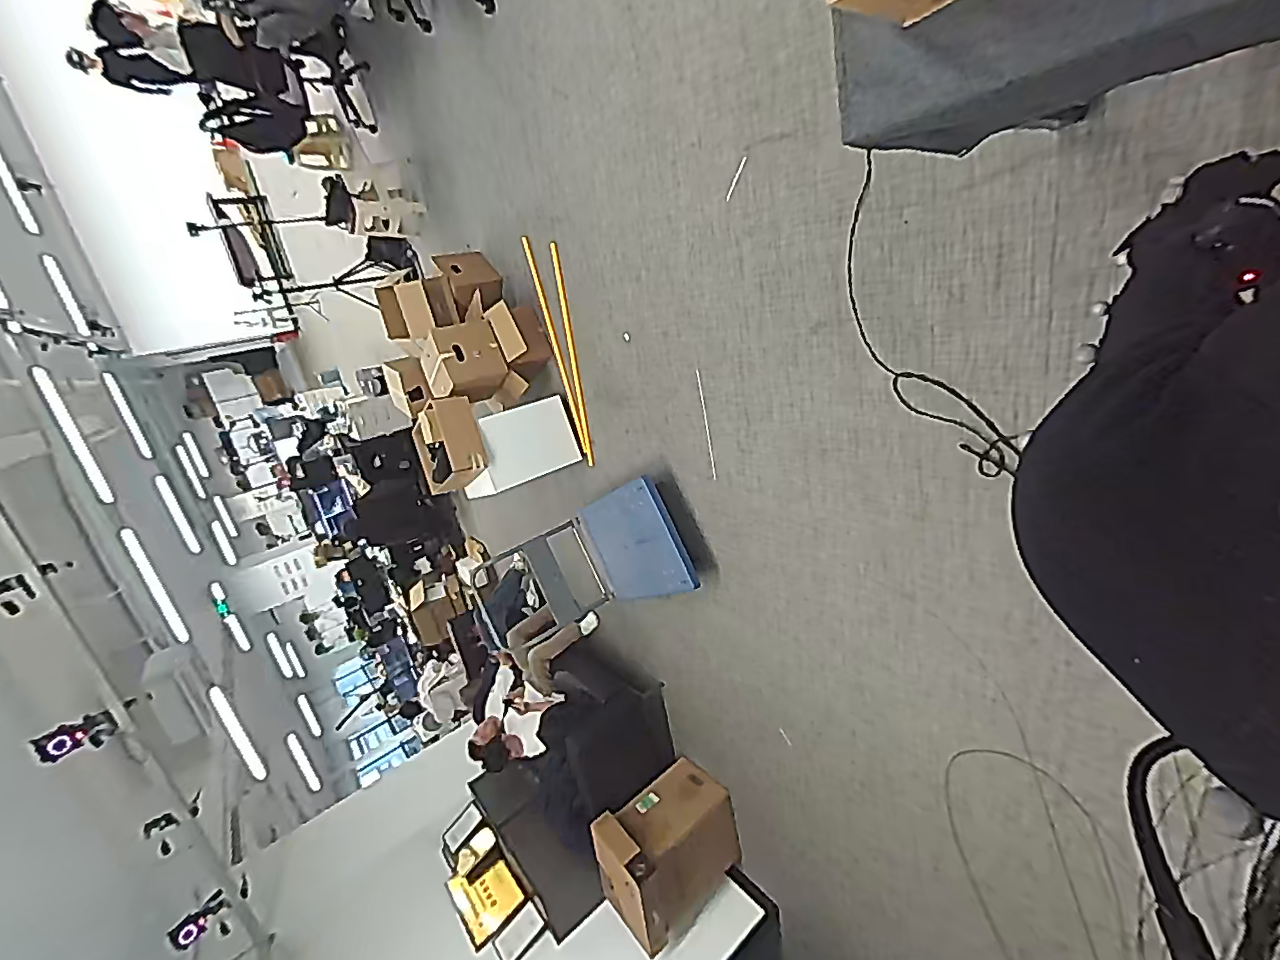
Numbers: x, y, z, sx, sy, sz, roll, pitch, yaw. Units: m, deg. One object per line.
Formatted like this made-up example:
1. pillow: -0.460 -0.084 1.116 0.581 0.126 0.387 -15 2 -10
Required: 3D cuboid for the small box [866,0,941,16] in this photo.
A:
1. small box: 0.287 -0.599 0.522 0.168 0.176 0.179 10 118 52
